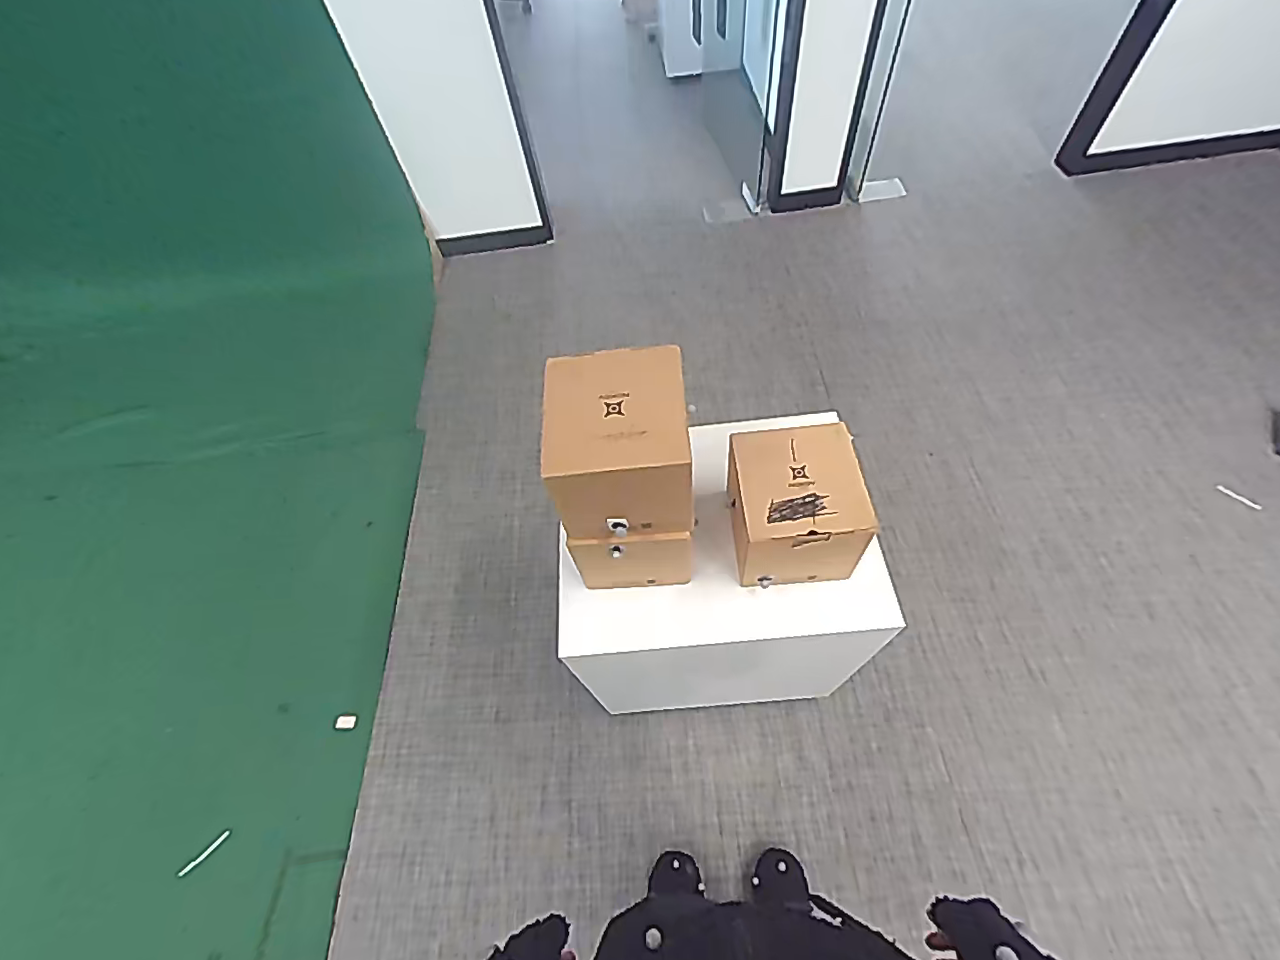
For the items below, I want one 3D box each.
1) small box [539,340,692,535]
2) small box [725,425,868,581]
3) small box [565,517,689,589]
[{"bbox_3d":[-0.025,-0.049,0.682,0.168,0.176,0.179,-6,59,3],"label":"small box"},{"bbox_3d":[0.220,0.043,0.808,0.168,0.176,0.179,-5,57,4],"label":"small box"},{"bbox_3d":[-0.013,0.052,0.828,0.168,0.176,0.179,-4,57,5],"label":"small box"}]
